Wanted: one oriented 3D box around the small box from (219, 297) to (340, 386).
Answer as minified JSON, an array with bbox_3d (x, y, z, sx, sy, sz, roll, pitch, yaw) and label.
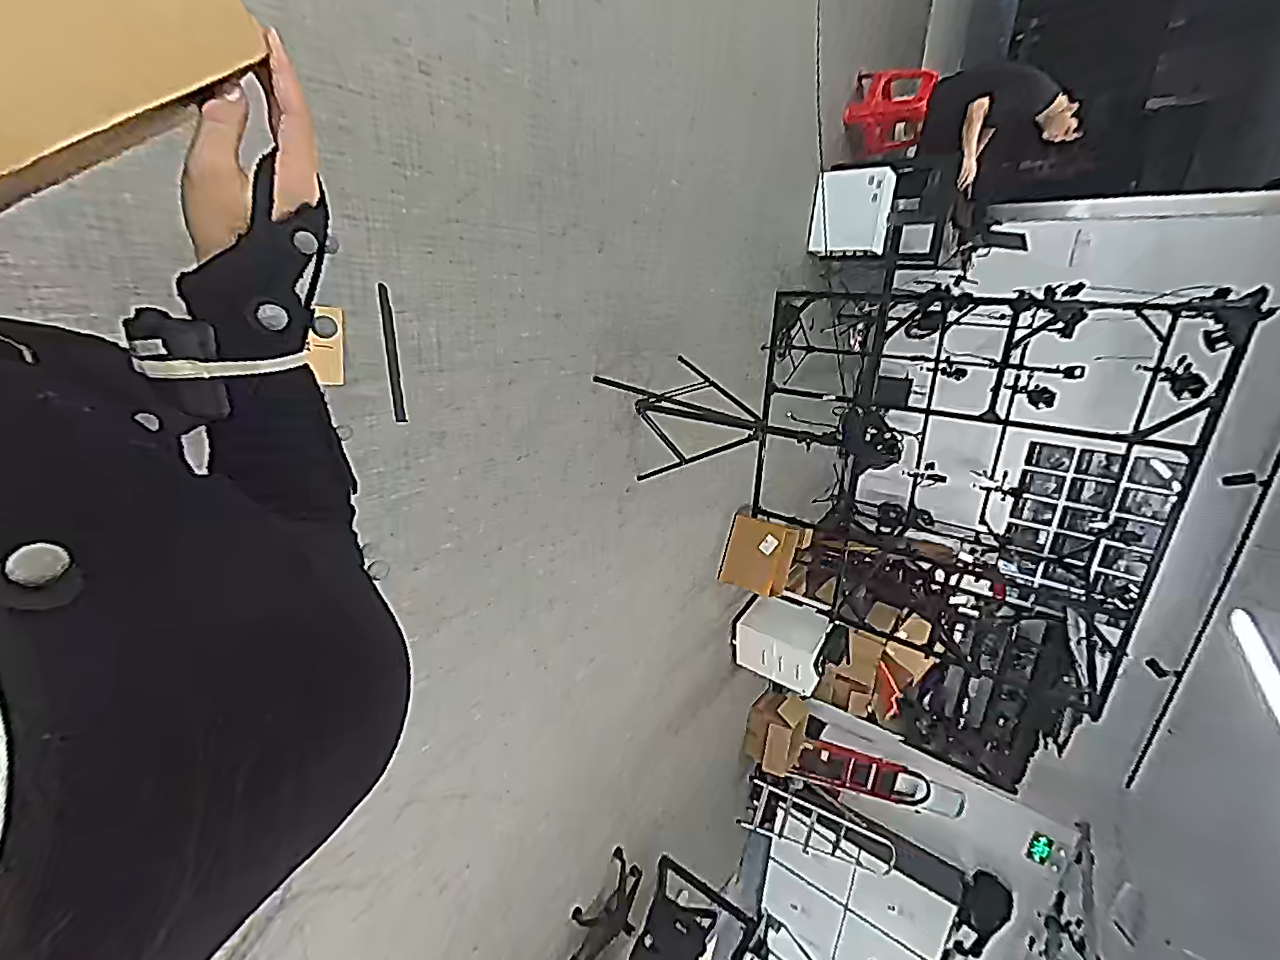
[{"bbox_3d":[-0.771,-0.294,1.156,0.179,0.176,0.168,-12,113,-54],"label":"small box"}]
